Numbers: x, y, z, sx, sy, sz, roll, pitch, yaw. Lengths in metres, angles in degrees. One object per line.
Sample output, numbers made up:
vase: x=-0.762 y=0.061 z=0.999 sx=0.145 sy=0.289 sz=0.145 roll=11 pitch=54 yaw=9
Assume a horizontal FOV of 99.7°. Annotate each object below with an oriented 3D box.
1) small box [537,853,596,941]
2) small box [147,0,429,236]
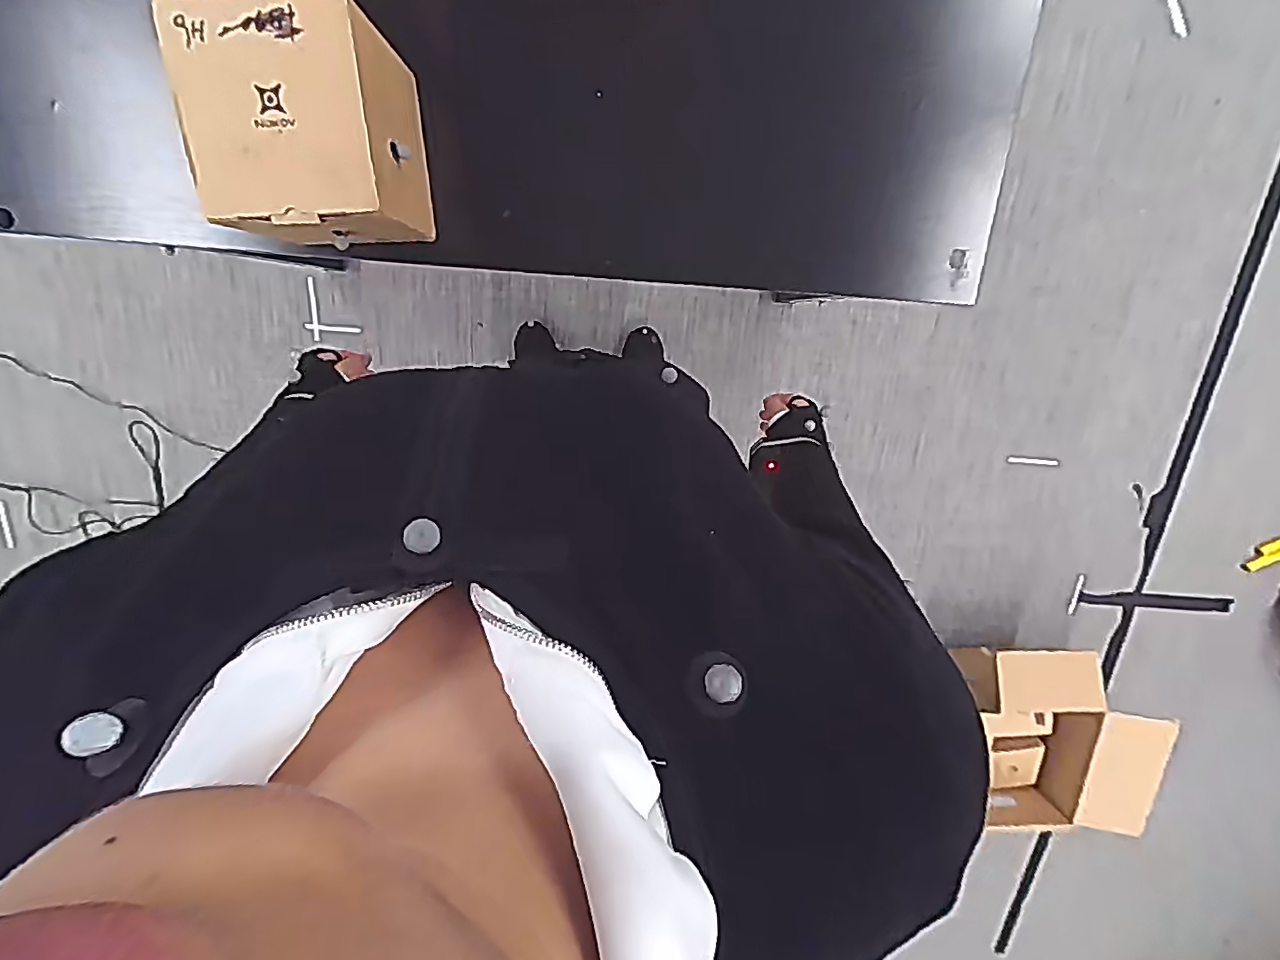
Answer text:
small box: x=-0.239 y=1.376 z=1.793 sx=0.179 sy=0.176 sz=0.168 roll=5 pitch=104 yaw=-3
small box: x=-0.333 y=-0.354 z=0.556 sx=0.168 sy=0.176 sz=0.179 roll=-3 pitch=107 yaw=-2
